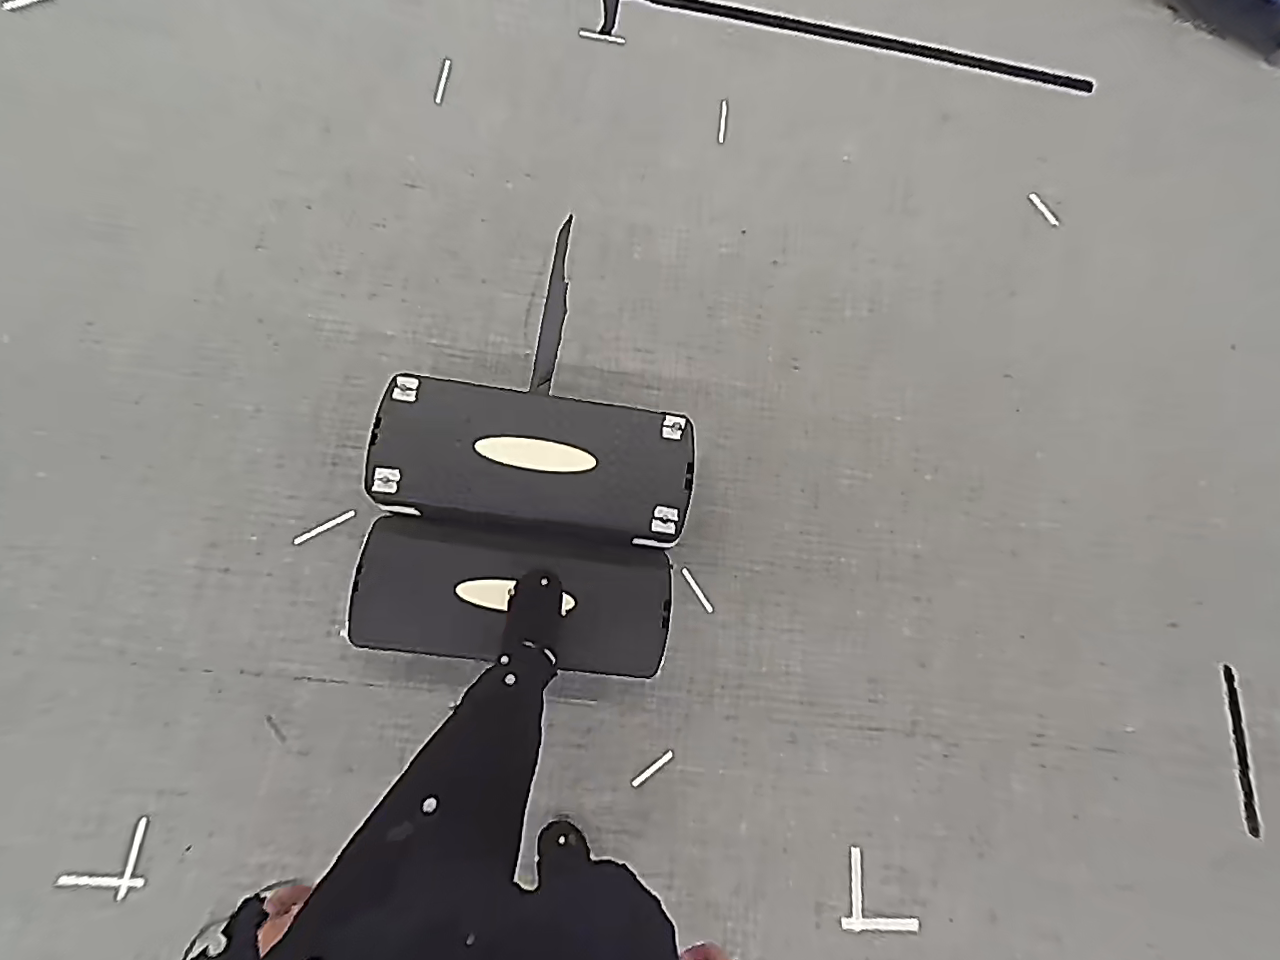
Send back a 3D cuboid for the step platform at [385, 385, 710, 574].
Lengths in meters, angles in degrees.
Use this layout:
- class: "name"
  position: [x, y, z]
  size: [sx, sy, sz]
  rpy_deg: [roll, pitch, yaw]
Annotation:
- class: "step platform"
  position: [-0.190, 0.008, 1.210]
  size: [0.684, 0.204, 0.286]
  rpy_deg: [13, 74, -4]
